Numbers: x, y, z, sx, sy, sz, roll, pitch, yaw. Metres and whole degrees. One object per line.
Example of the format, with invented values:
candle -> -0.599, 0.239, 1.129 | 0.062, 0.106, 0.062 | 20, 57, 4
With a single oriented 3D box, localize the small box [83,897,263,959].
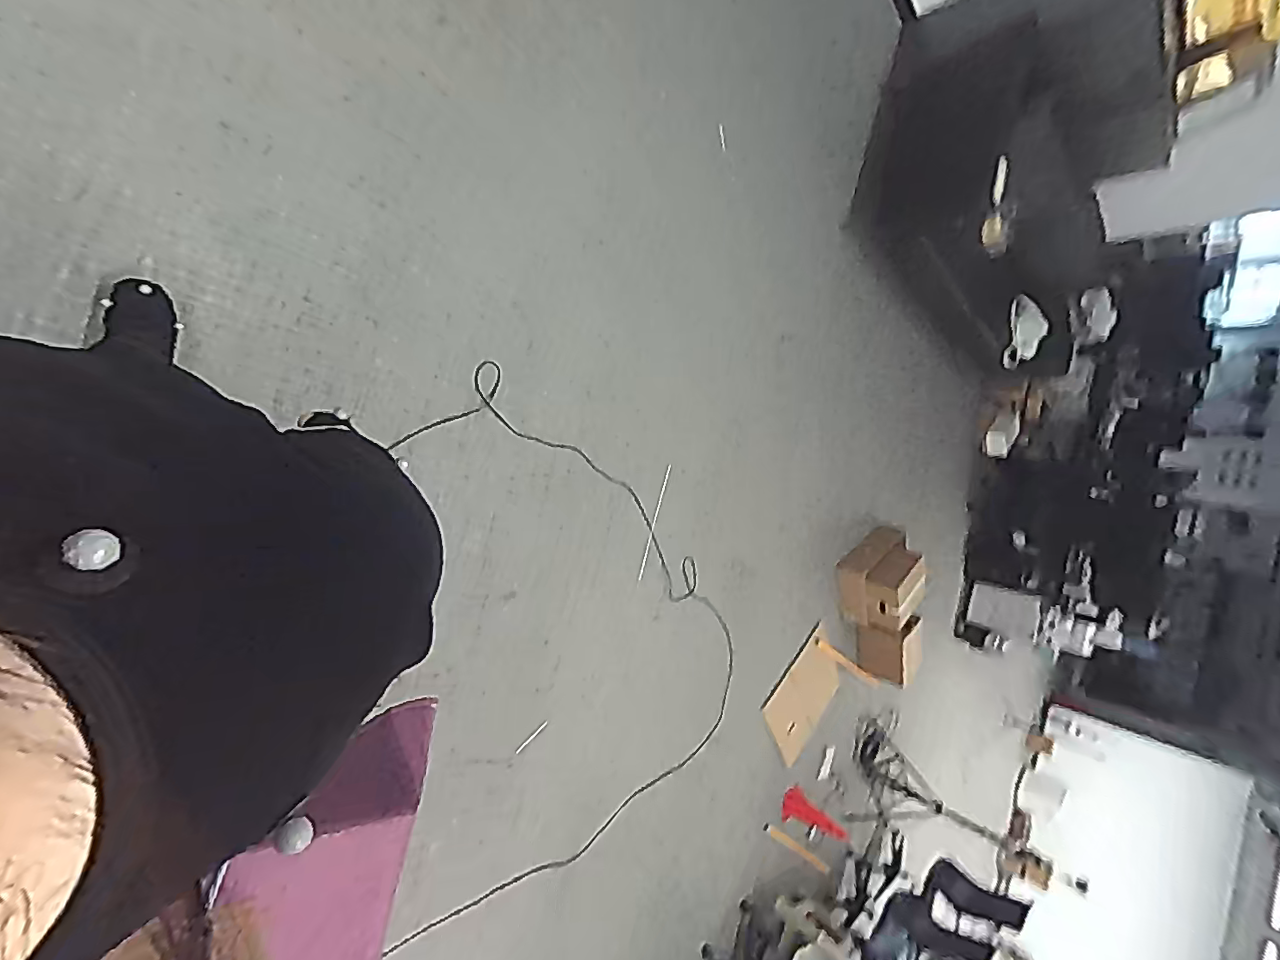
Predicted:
small box -> -0.543, 0.634, 0.611 | 0.168, 0.176, 0.179 | 19, 86, -44
